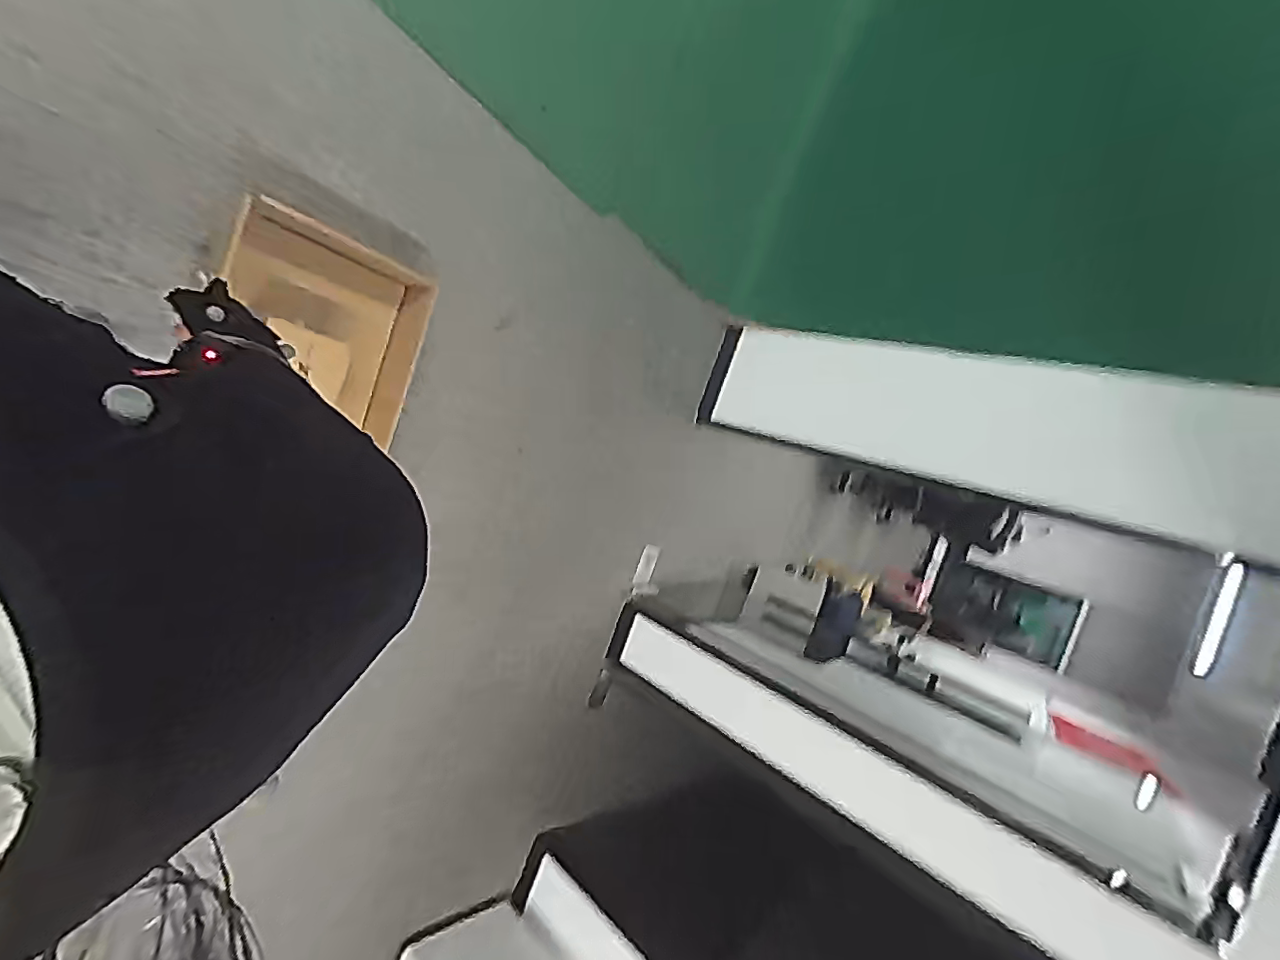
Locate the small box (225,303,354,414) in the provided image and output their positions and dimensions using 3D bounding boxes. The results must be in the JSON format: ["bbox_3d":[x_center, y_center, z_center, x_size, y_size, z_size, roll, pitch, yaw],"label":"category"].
[{"bbox_3d":[-0.753,-0.260,1.158,0.168,0.176,0.179,19,91,-53],"label":"small box"}]
